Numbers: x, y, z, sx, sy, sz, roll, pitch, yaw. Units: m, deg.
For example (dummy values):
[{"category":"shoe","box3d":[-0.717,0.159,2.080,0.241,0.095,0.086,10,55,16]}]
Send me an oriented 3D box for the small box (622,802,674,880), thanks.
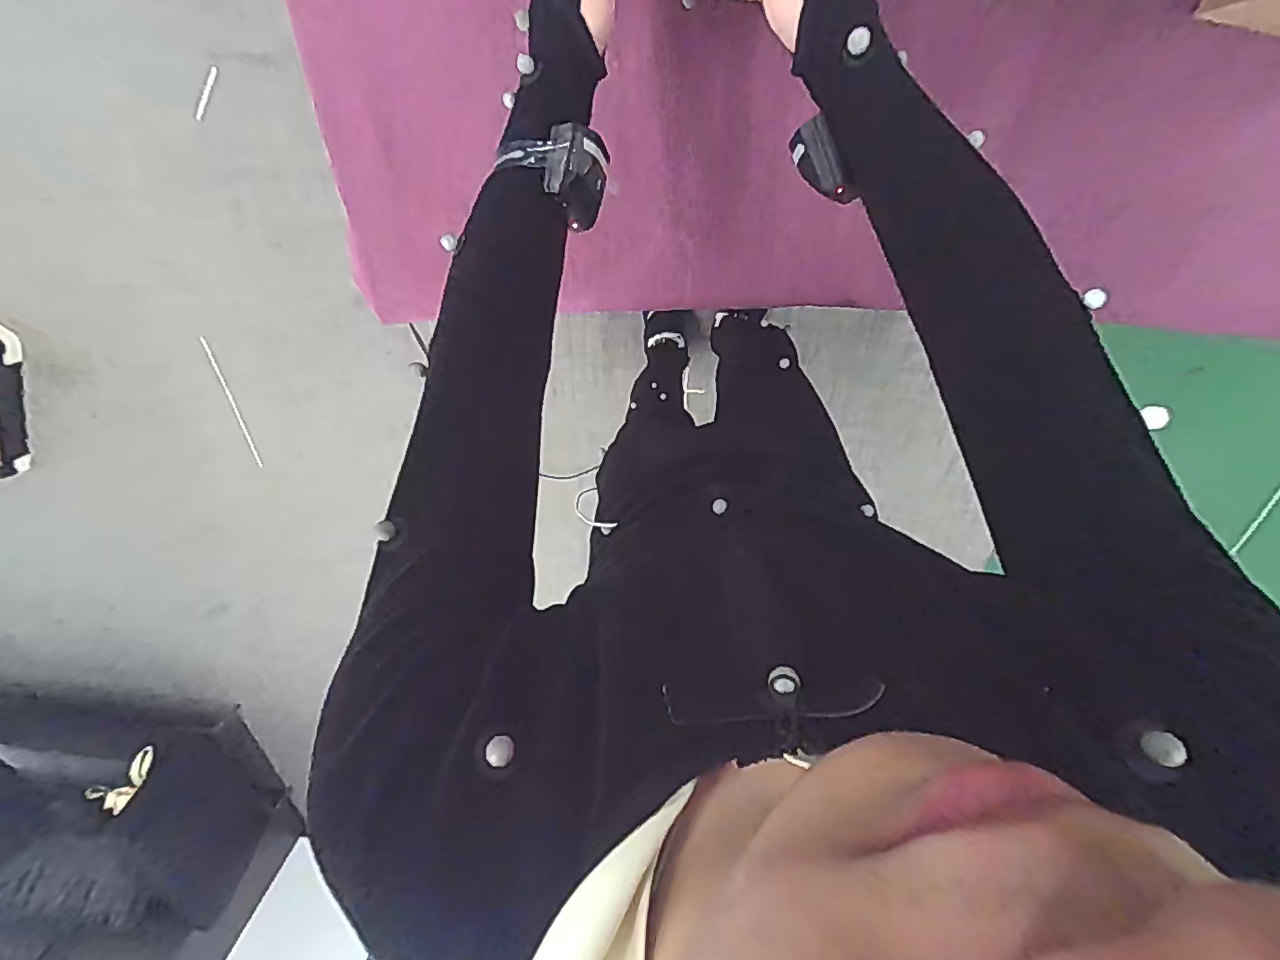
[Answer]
[{"category":"small box","box3d":[0.031,1.316,1.975,0.168,0.176,0.179,6,122,6]}]
